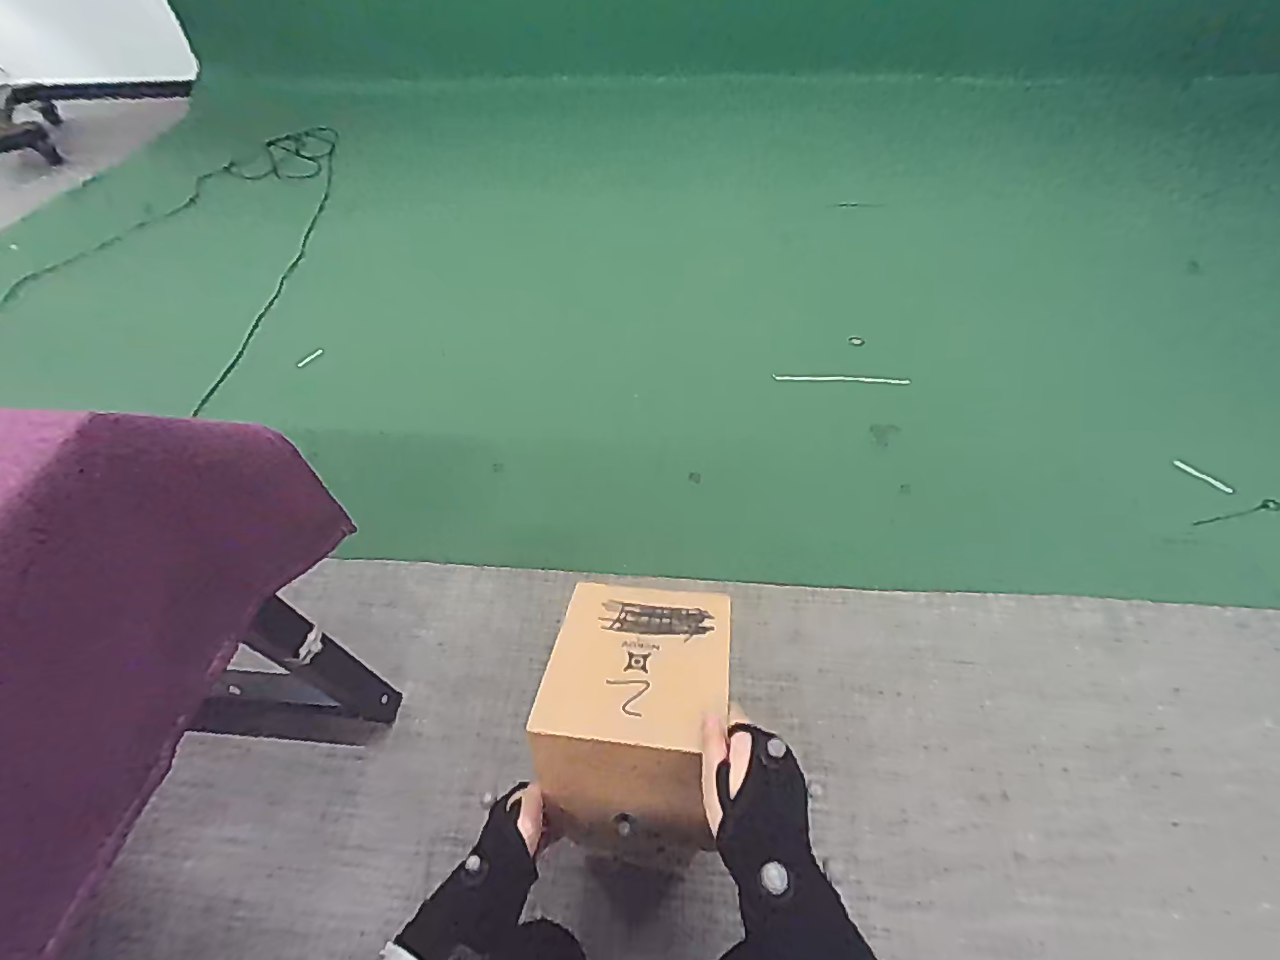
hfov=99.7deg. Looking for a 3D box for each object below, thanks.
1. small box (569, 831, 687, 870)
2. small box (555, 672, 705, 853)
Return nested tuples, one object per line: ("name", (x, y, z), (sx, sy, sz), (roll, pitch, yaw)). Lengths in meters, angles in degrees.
("small box", (-0.001, 0.485, 0.840), (0.168, 0.176, 0.179), (6, 52, 7))
("small box", (-0.004, 0.378, 0.717), (0.168, 0.176, 0.179), (5, 51, 5))
